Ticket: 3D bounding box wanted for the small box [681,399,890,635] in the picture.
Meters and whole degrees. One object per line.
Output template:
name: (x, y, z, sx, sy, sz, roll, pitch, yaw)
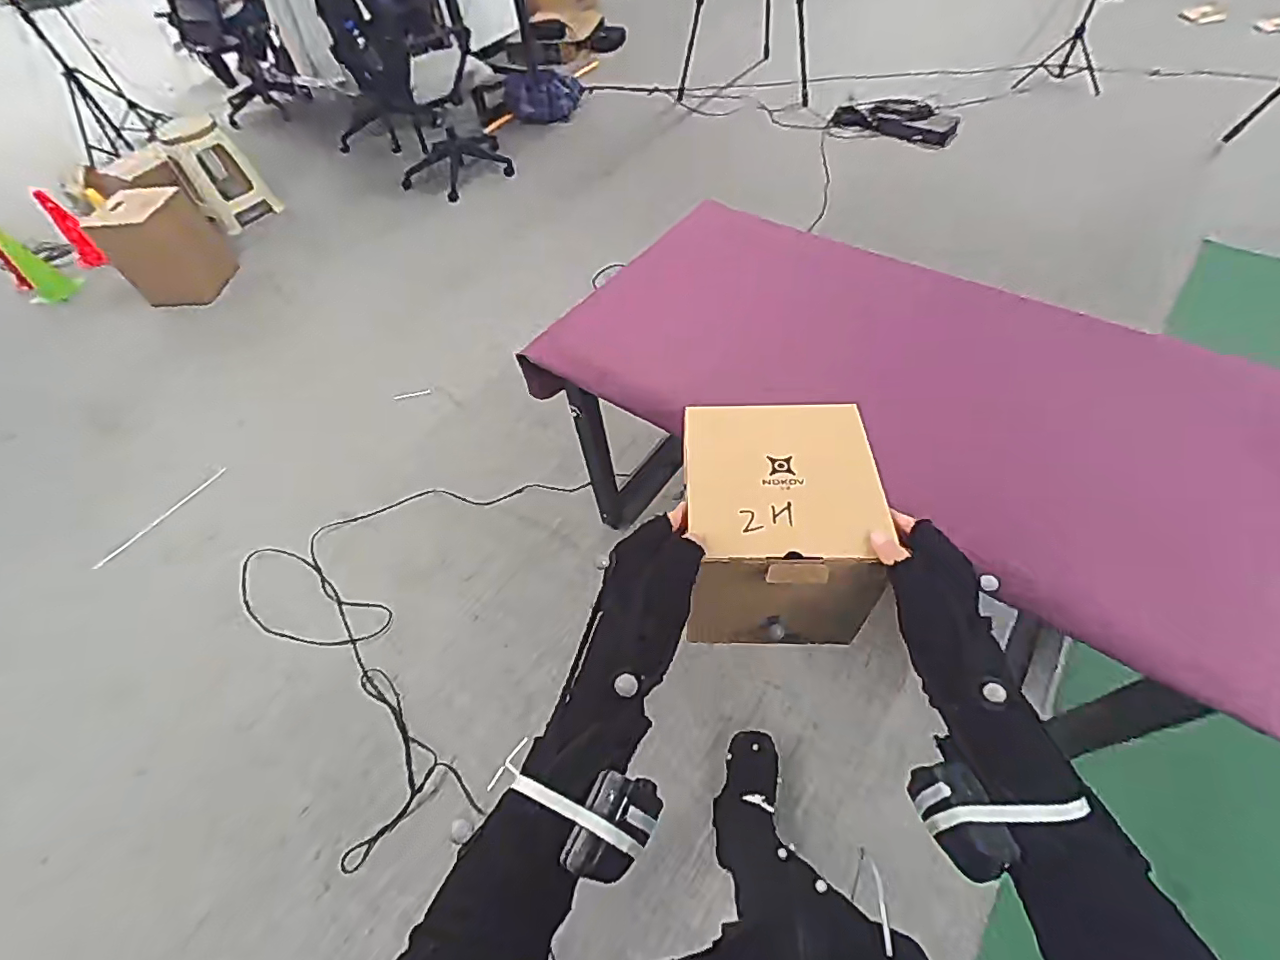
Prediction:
small box: (0.125, 0.039, 0.545, 0.168, 0.176, 0.179, -1, 52, 4)
